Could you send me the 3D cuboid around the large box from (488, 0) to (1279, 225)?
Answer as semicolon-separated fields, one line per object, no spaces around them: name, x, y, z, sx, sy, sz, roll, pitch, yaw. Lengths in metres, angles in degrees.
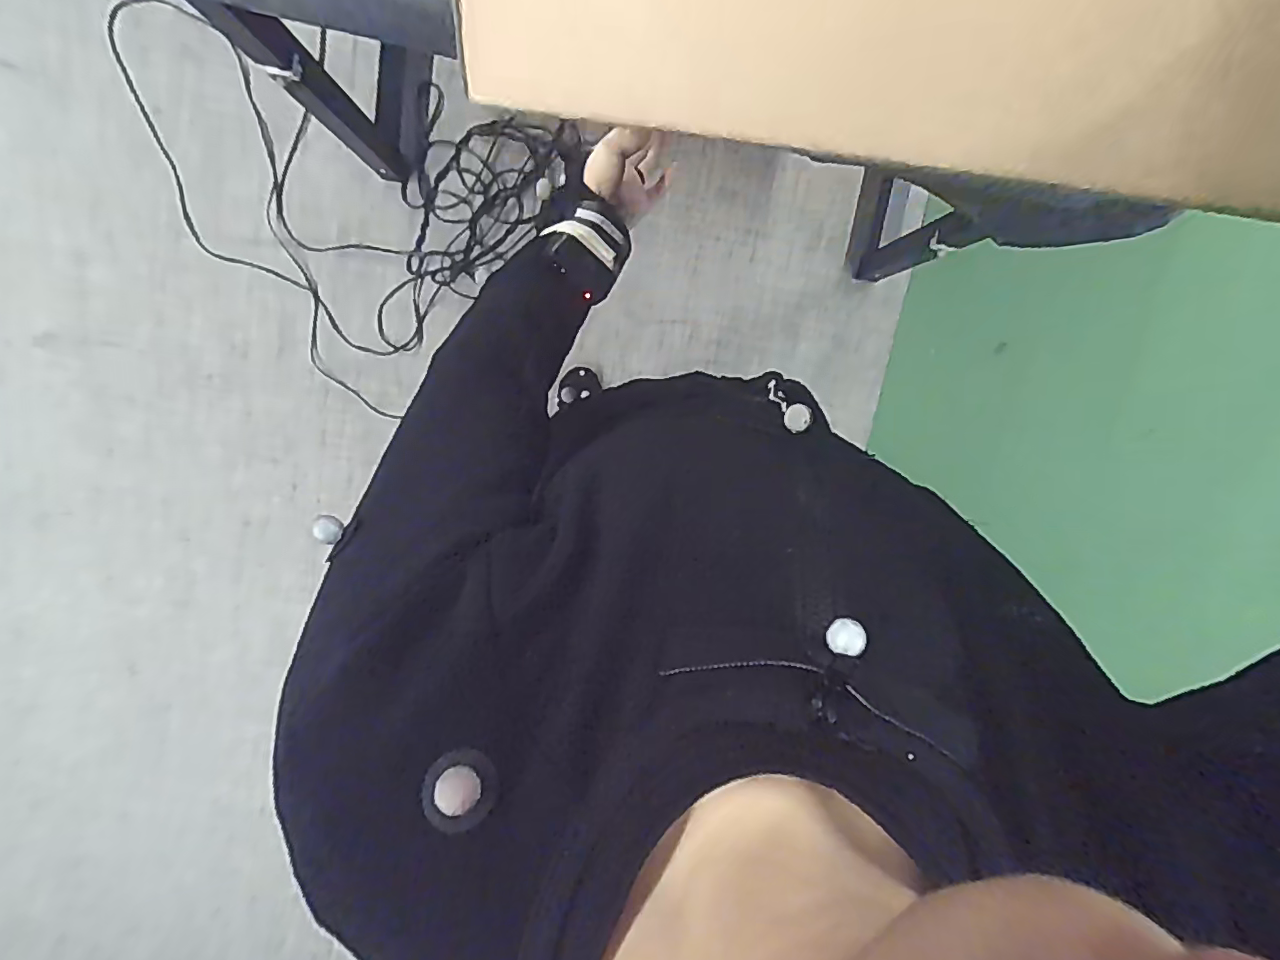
large box;0.166;-0.336;0.267;0.408;0.320;0.320;13;126;11
